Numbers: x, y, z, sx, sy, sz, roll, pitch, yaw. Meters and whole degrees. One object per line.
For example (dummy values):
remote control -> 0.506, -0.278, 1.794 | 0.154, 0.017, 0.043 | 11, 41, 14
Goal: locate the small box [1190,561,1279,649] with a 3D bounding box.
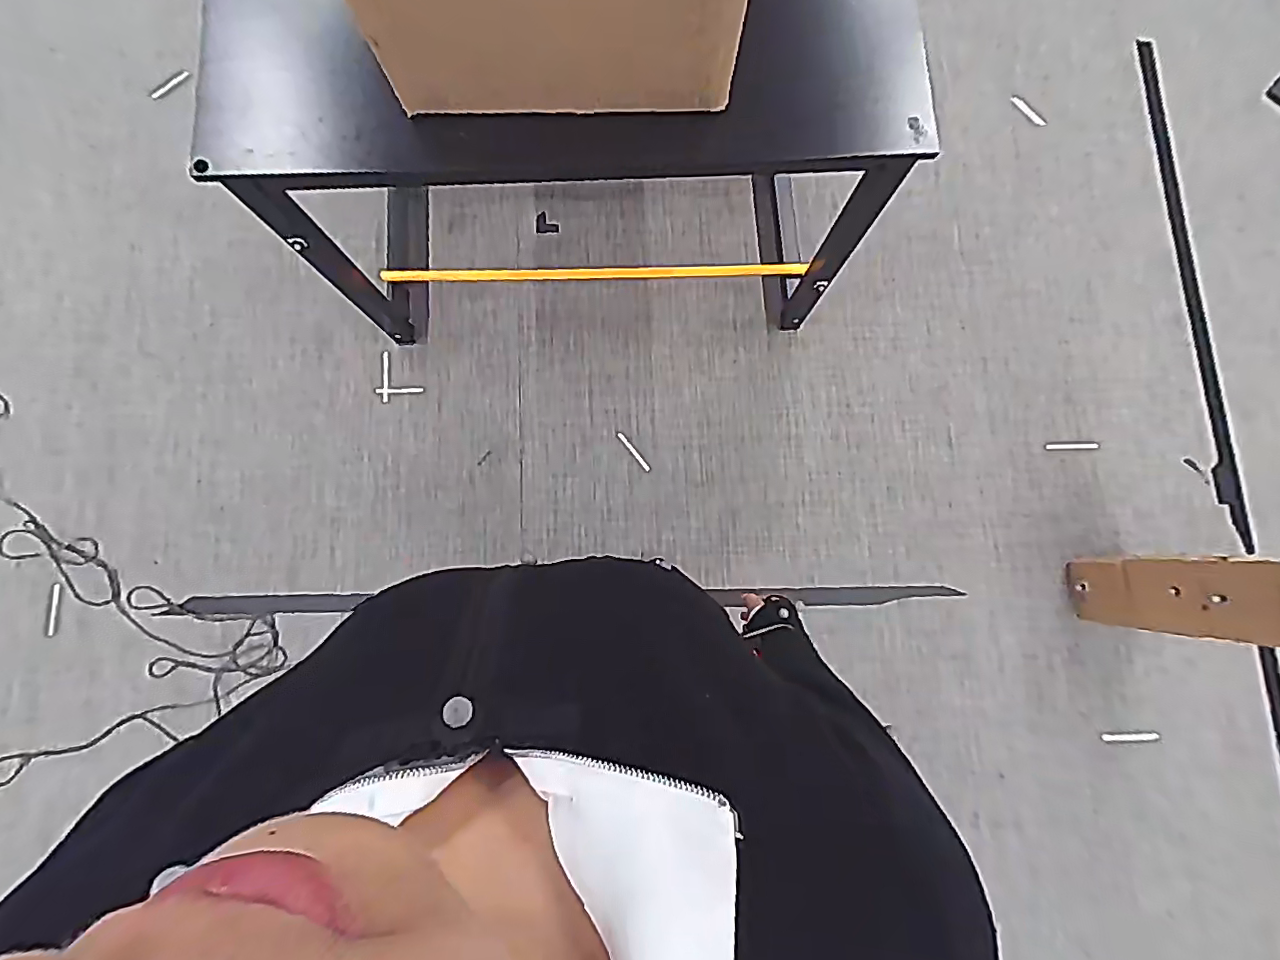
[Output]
small box -> 1.297, 0.250, 1.102 | 0.179, 0.176, 0.168 | 1, 81, 0

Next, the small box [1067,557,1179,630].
small box -> 1.290, 0.293, 1.429 | 0.179, 0.176, 0.168 | -7, 81, 0

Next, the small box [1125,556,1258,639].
small box -> 1.293, 0.270, 1.266 | 0.168, 0.176, 0.179 | -3, 82, -1
